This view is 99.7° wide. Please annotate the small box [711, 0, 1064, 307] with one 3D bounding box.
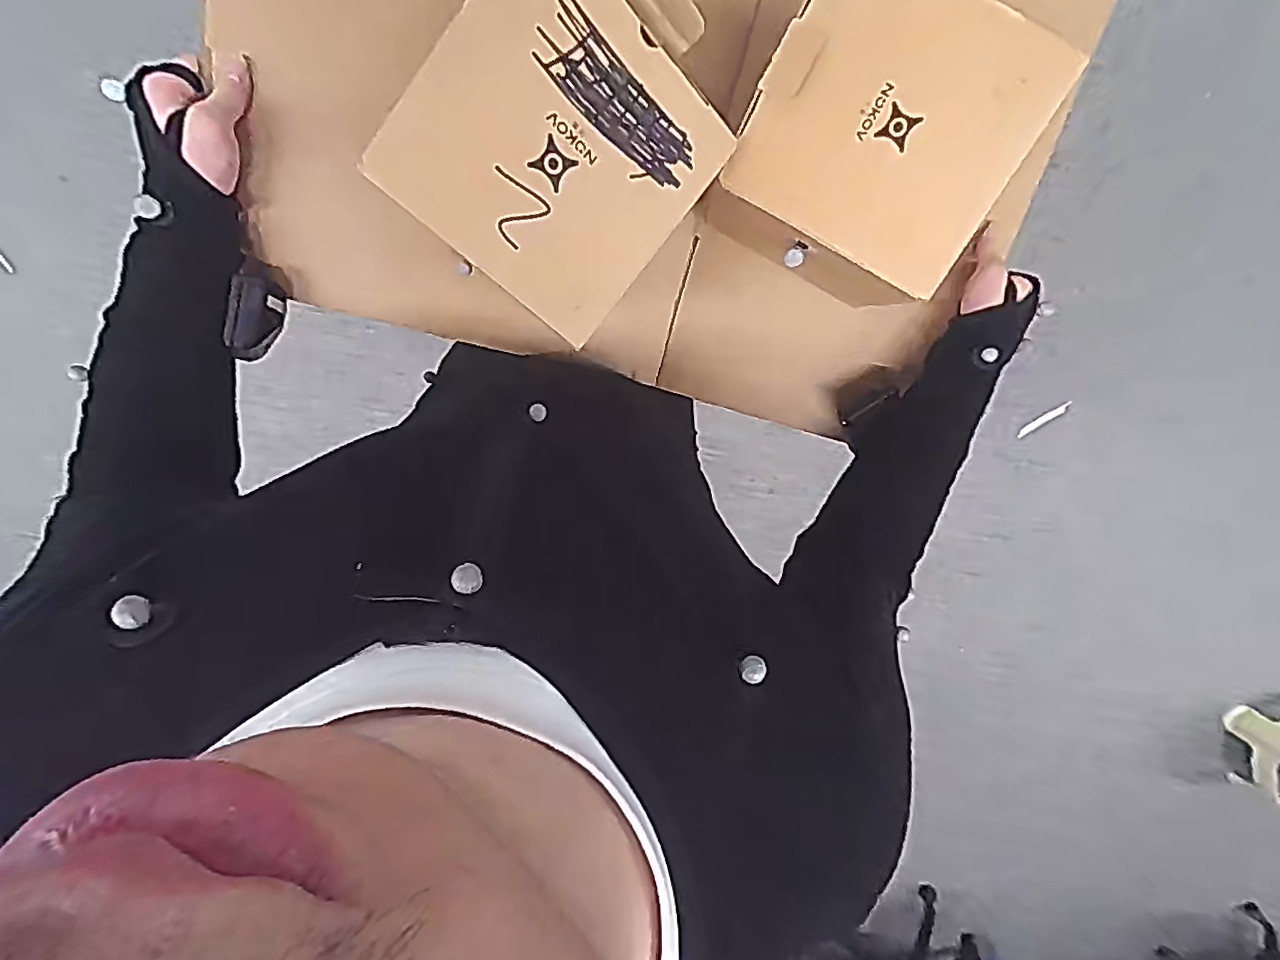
[{"bbox_3d":[0.174,-0.259,0.447,0.179,0.176,0.168,28,107,-2],"label":"small box"}]
